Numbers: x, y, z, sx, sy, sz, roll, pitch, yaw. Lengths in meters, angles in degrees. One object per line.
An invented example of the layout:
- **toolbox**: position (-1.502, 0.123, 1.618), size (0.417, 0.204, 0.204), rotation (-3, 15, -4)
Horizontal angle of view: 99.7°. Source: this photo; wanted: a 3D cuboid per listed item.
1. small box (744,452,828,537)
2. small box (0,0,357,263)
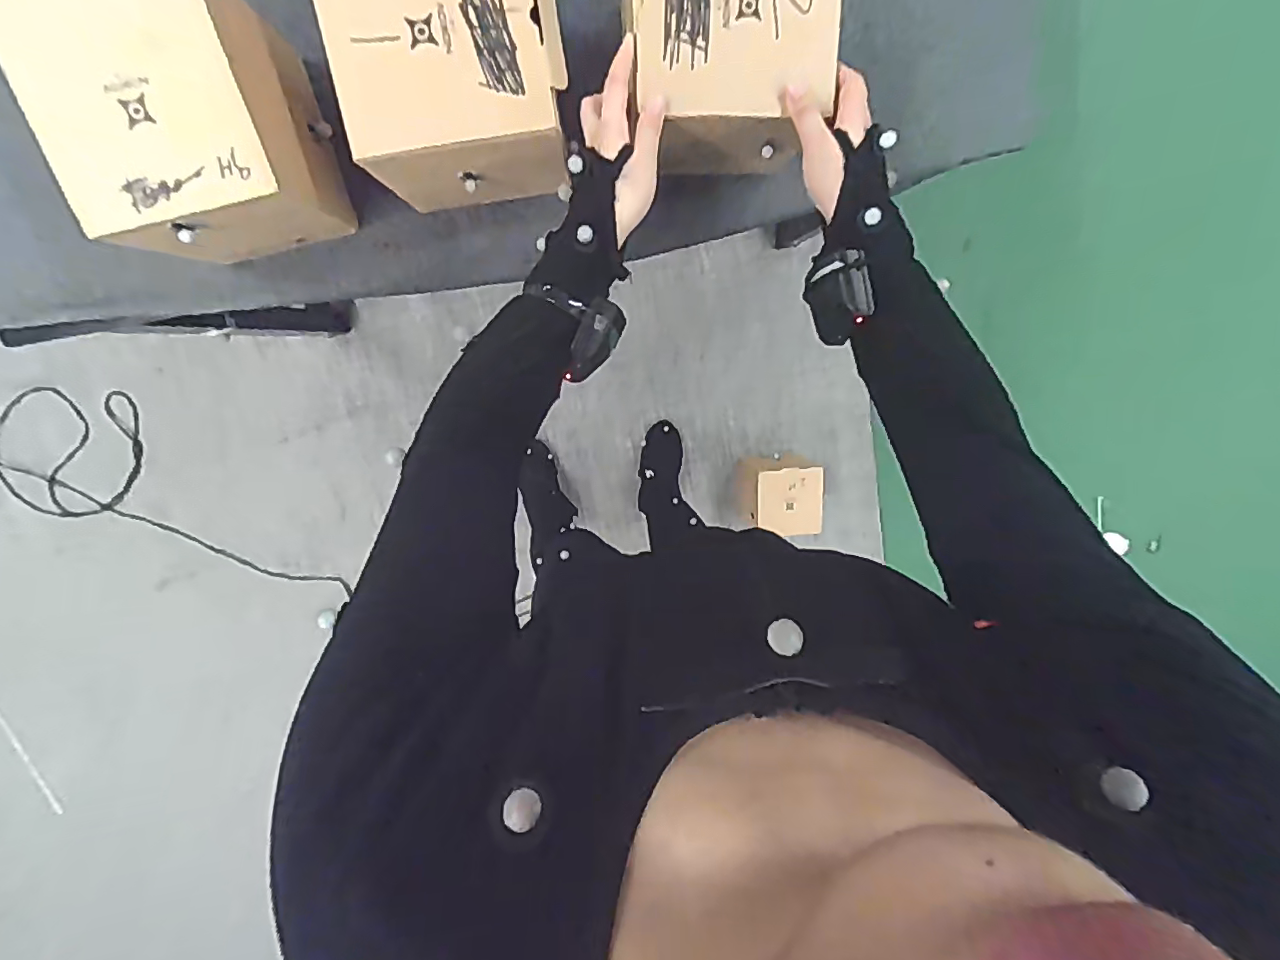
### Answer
- **small box**: position (0.373, 0.033, 1.405), size (0.168, 0.176, 0.179), rotation (-4, 105, -3)
- **small box**: position (-0.404, -0.321, 0.506), size (0.168, 0.176, 0.179), rotation (-14, 105, 0)
